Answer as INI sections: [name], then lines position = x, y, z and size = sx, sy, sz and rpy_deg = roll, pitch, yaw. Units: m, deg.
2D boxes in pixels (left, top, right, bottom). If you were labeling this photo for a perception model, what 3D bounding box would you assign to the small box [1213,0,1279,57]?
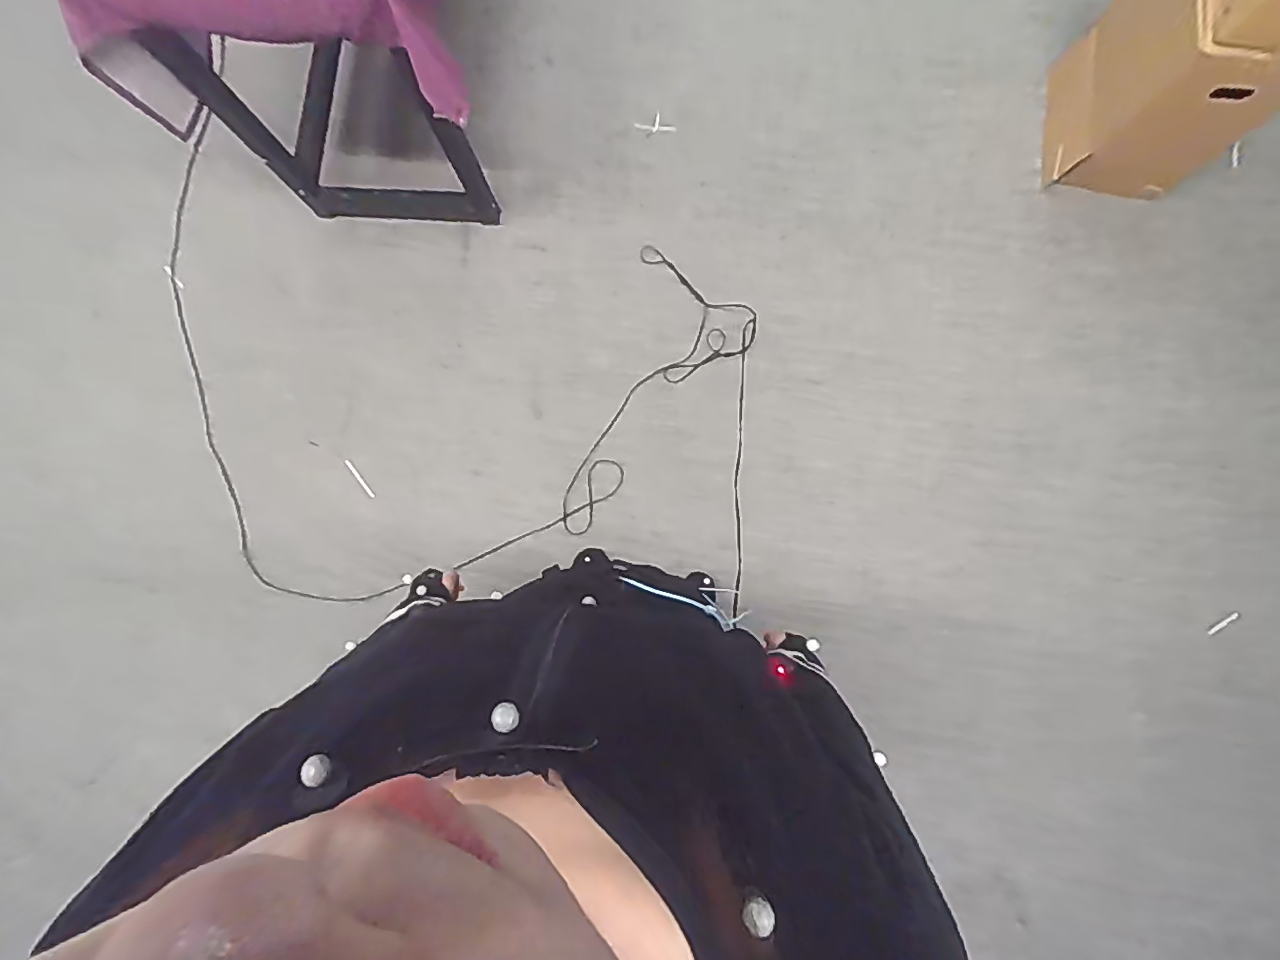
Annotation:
[small box]
position = 1.343, -1.011, 1.101
size = 0.179, 0.176, 0.168
rpy_deg = 9, 82, 2
